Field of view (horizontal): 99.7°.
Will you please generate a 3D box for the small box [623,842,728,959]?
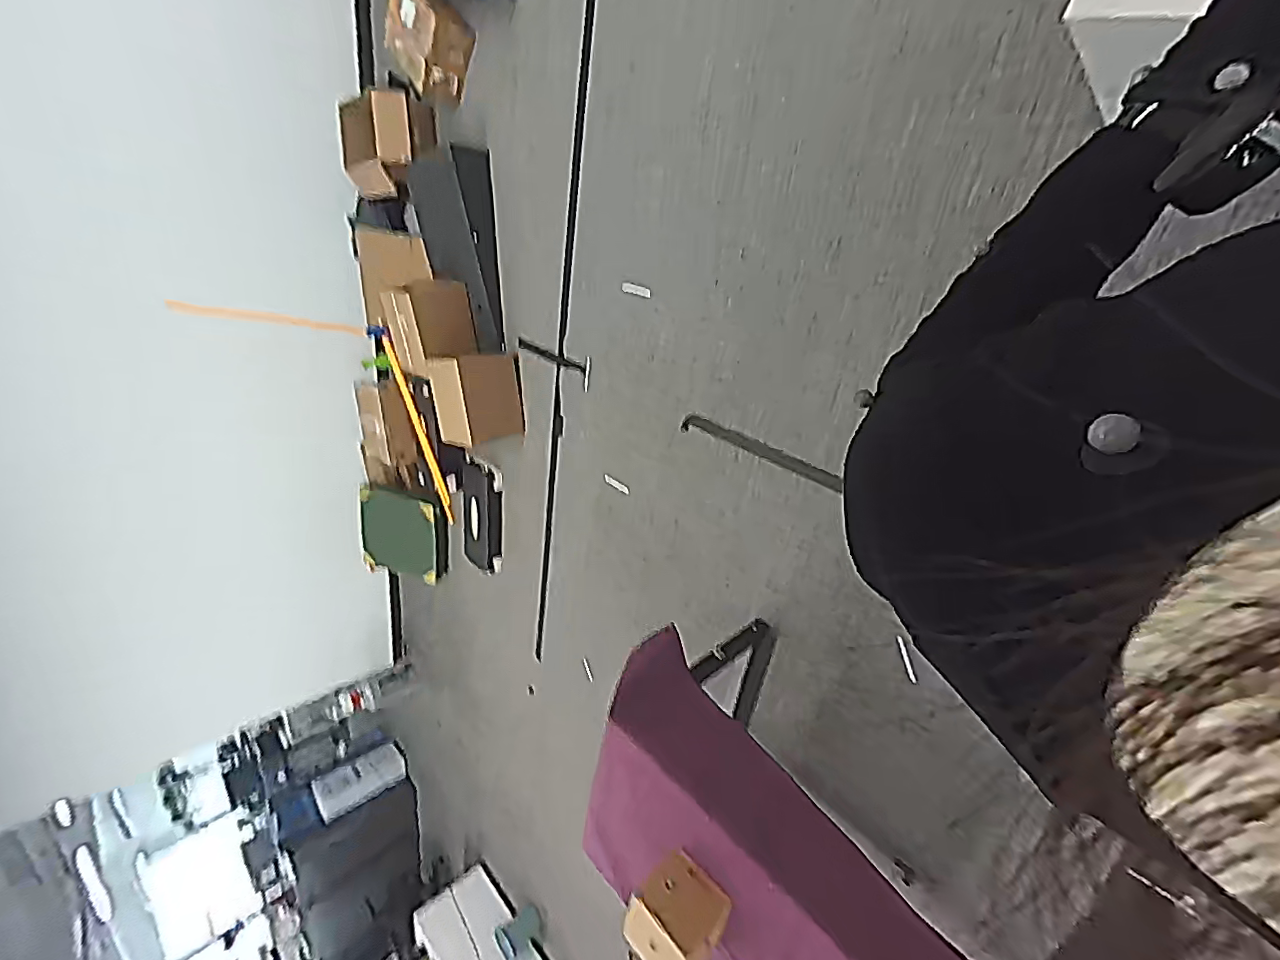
[{"bbox_3d":[0.085,1.014,1.278,0.168,0.176,0.179,30,123,36],"label":"small box"}]
